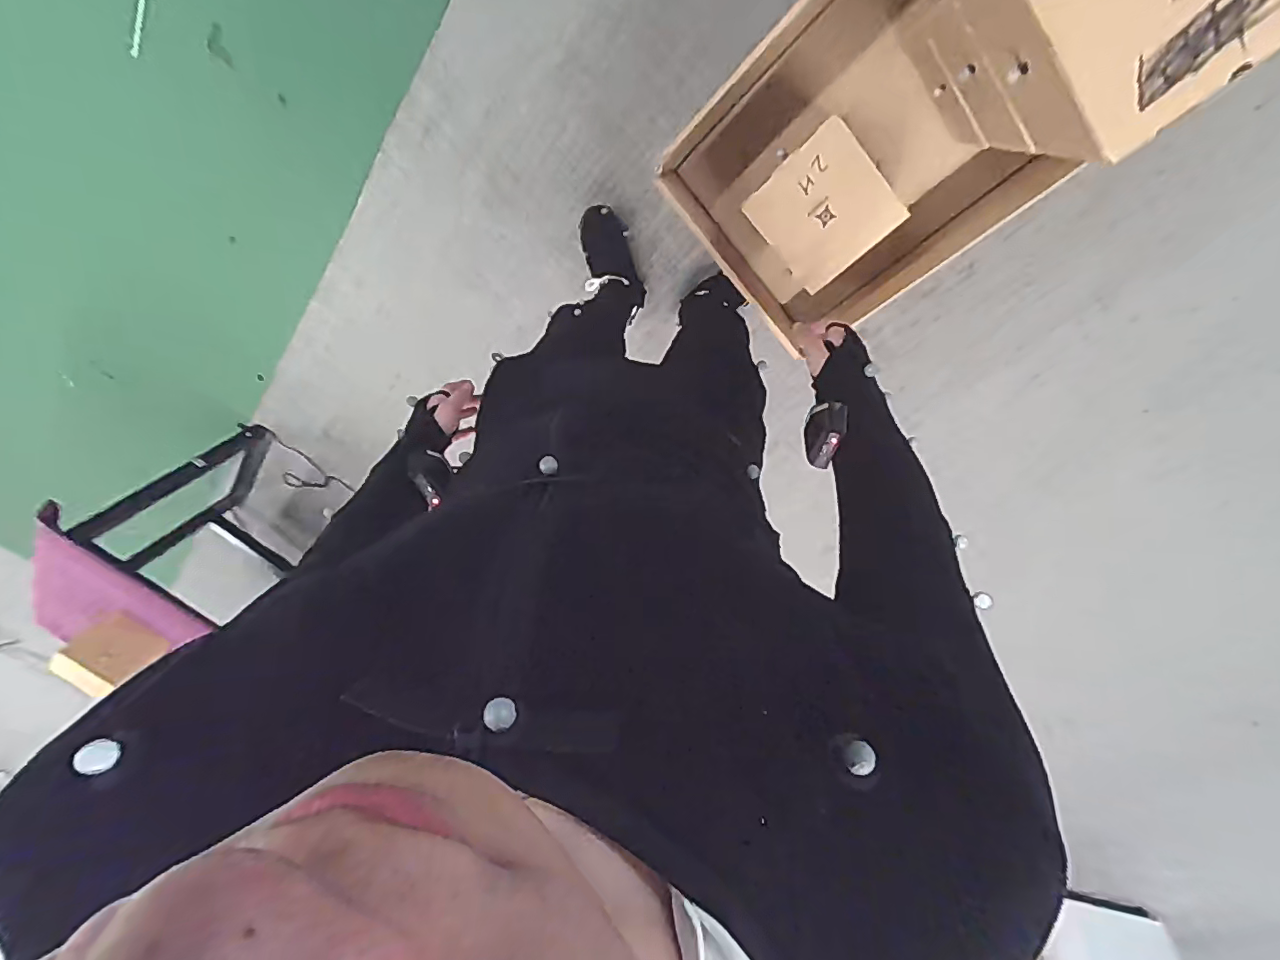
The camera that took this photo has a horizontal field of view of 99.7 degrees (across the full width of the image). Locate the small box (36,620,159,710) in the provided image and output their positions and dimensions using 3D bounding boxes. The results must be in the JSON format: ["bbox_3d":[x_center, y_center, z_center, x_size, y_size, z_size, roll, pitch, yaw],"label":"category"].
[{"bbox_3d":[-1.597,0.539,1.598,0.168,0.176,0.179,-34,109,30],"label":"small box"}]

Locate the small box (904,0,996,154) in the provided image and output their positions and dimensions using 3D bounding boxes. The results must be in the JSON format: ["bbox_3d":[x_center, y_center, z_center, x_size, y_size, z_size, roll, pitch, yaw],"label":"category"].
[{"bbox_3d":[0.472,-0.562,0.706,0.168,0.176,0.179,-32,110,30],"label":"small box"}]

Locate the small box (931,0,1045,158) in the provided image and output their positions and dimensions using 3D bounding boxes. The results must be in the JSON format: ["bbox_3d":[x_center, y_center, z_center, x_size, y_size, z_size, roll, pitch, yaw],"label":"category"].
[{"bbox_3d":[0.439,-0.475,0.572,0.168,0.176,0.179,-32,109,31],"label":"small box"}]

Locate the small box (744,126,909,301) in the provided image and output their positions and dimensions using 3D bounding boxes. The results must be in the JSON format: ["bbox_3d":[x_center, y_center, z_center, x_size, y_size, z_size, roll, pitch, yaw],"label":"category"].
[{"bbox_3d":[0.284,-0.417,0.843,0.168,0.176,0.179,-37,107,30],"label":"small box"}]

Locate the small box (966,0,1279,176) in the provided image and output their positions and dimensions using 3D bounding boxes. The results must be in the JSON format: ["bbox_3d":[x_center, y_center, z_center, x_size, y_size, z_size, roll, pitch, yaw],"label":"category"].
[{"bbox_3d":[0.403,-0.386,0.437,0.168,0.176,0.179,-33,108,31],"label":"small box"}]
